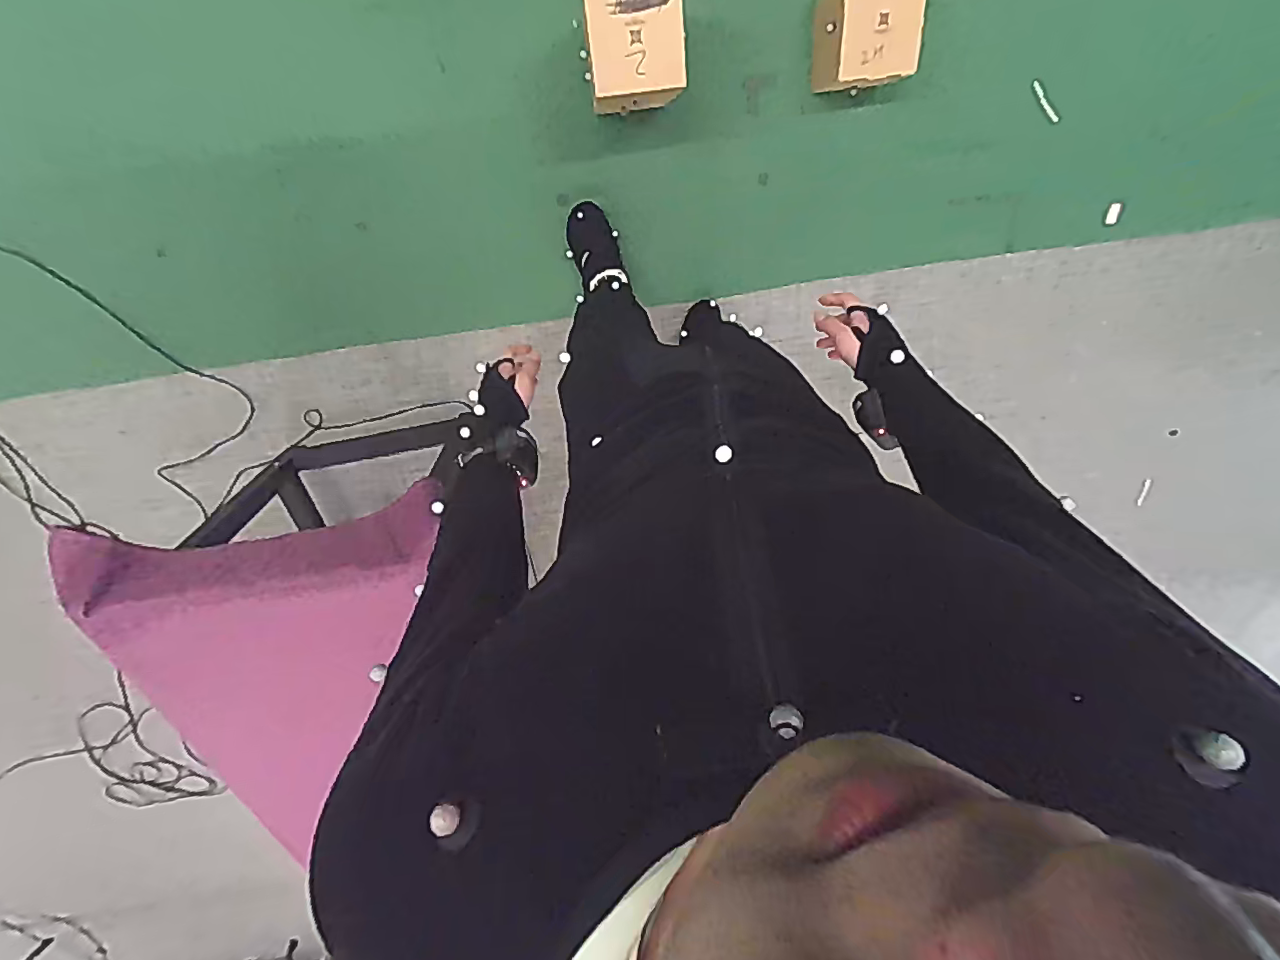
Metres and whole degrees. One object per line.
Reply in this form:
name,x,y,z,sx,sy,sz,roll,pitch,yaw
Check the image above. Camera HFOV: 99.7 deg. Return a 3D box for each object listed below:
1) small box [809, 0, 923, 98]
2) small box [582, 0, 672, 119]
small box,0.472,-0.938,1.153,0.168,0.176,0.179,-7,119,-2
small box,-0.026,-0.875,1.139,0.168,0.176,0.179,-8,118,-1
